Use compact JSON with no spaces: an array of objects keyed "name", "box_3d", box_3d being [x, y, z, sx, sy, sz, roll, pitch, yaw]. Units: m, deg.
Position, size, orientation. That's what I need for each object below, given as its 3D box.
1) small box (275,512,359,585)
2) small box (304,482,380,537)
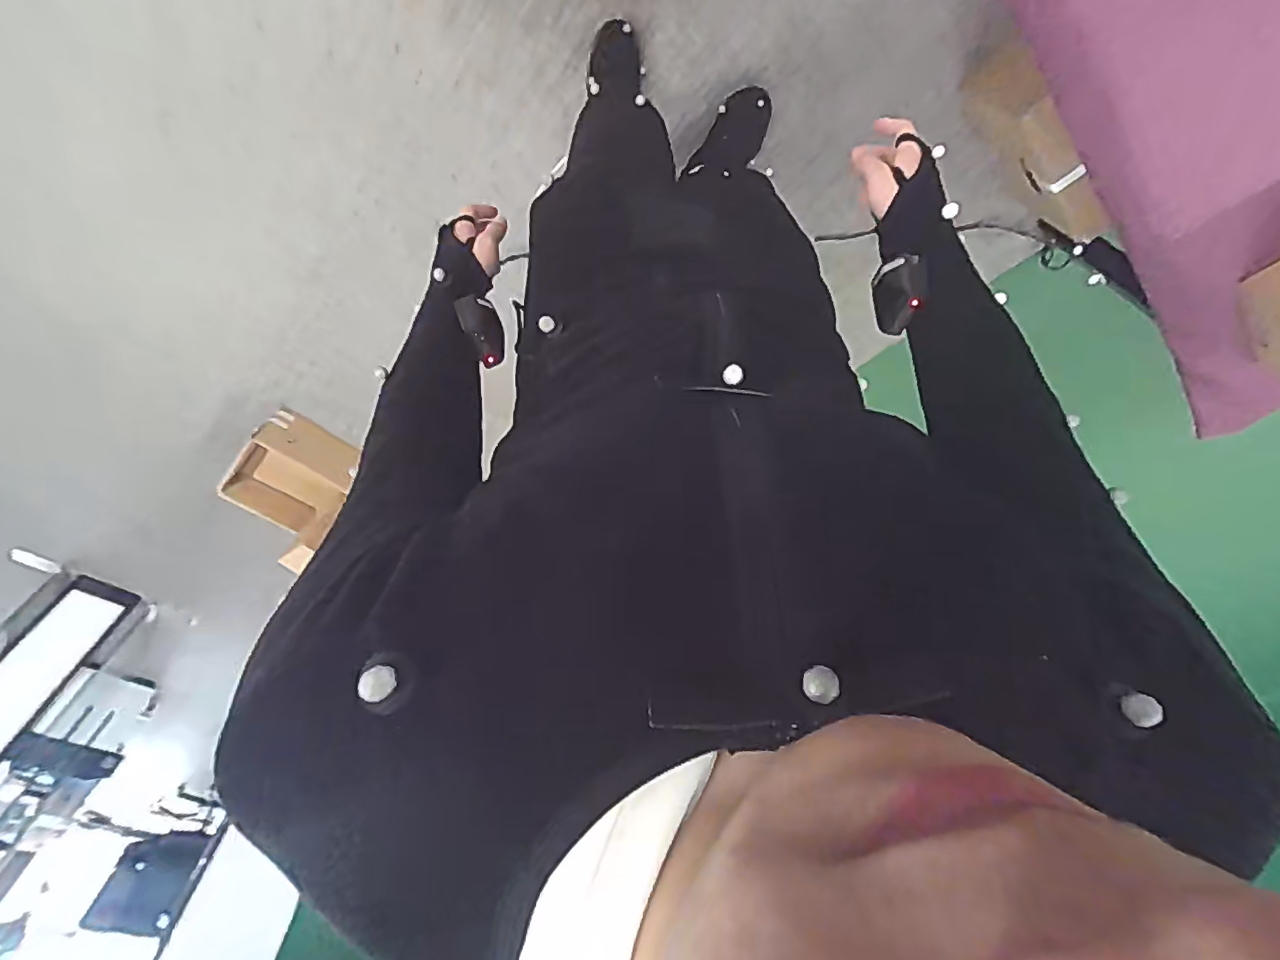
[{"name":"small box","box_3d":[-1.167,0.250,1.970,0.179,0.176,0.168,-27,123,26]},{"name":"small box","box_3d":[-1.148,0.141,2.090,0.179,0.176,0.168,-31,120,28]}]
